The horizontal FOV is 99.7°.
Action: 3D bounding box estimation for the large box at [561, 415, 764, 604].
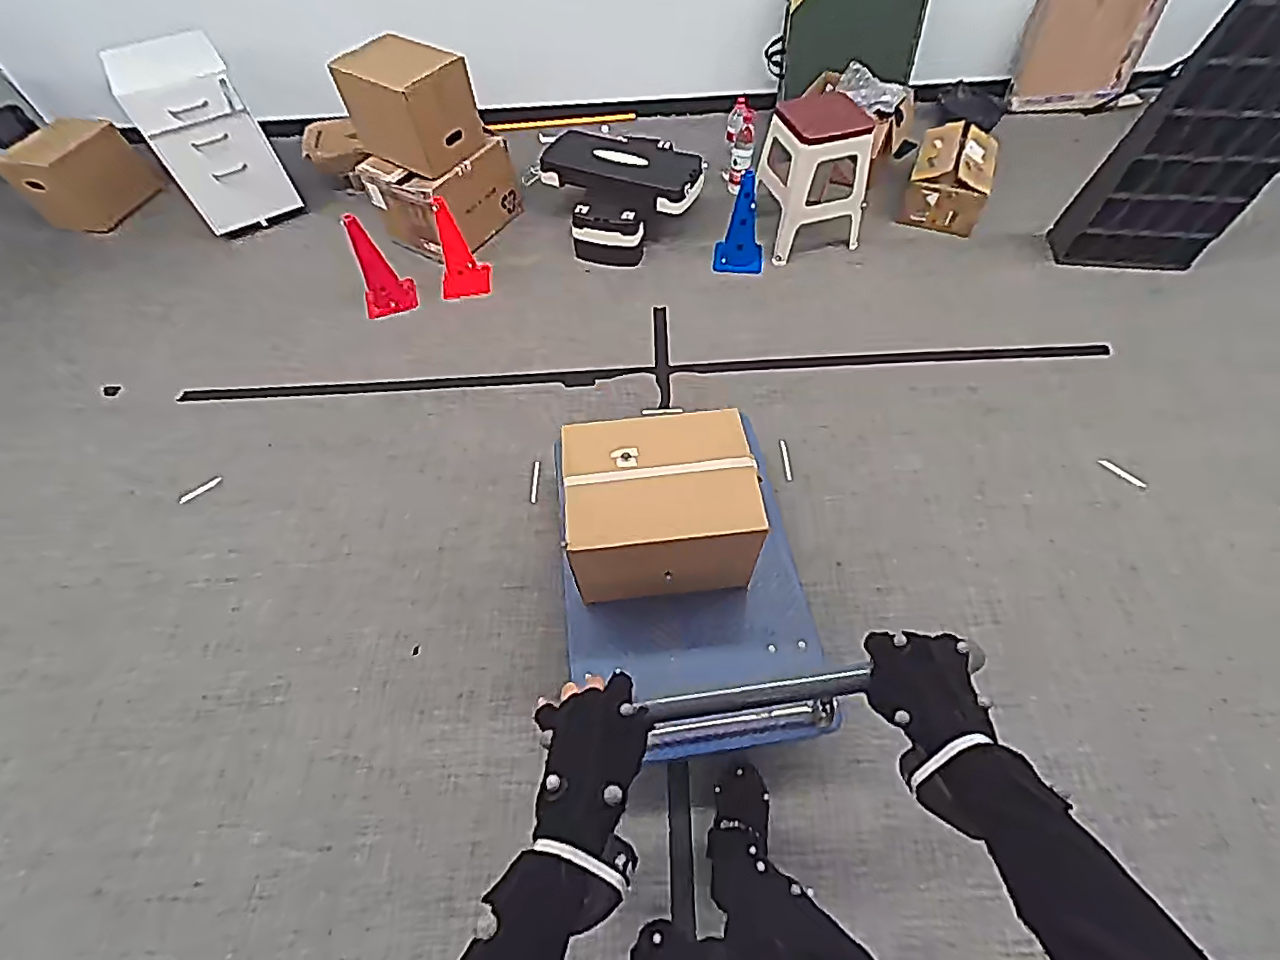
[{"bbox_3d":[0.044,0.080,1.277,0.408,0.320,0.320,-7,58,-1],"label":"large box"}]
